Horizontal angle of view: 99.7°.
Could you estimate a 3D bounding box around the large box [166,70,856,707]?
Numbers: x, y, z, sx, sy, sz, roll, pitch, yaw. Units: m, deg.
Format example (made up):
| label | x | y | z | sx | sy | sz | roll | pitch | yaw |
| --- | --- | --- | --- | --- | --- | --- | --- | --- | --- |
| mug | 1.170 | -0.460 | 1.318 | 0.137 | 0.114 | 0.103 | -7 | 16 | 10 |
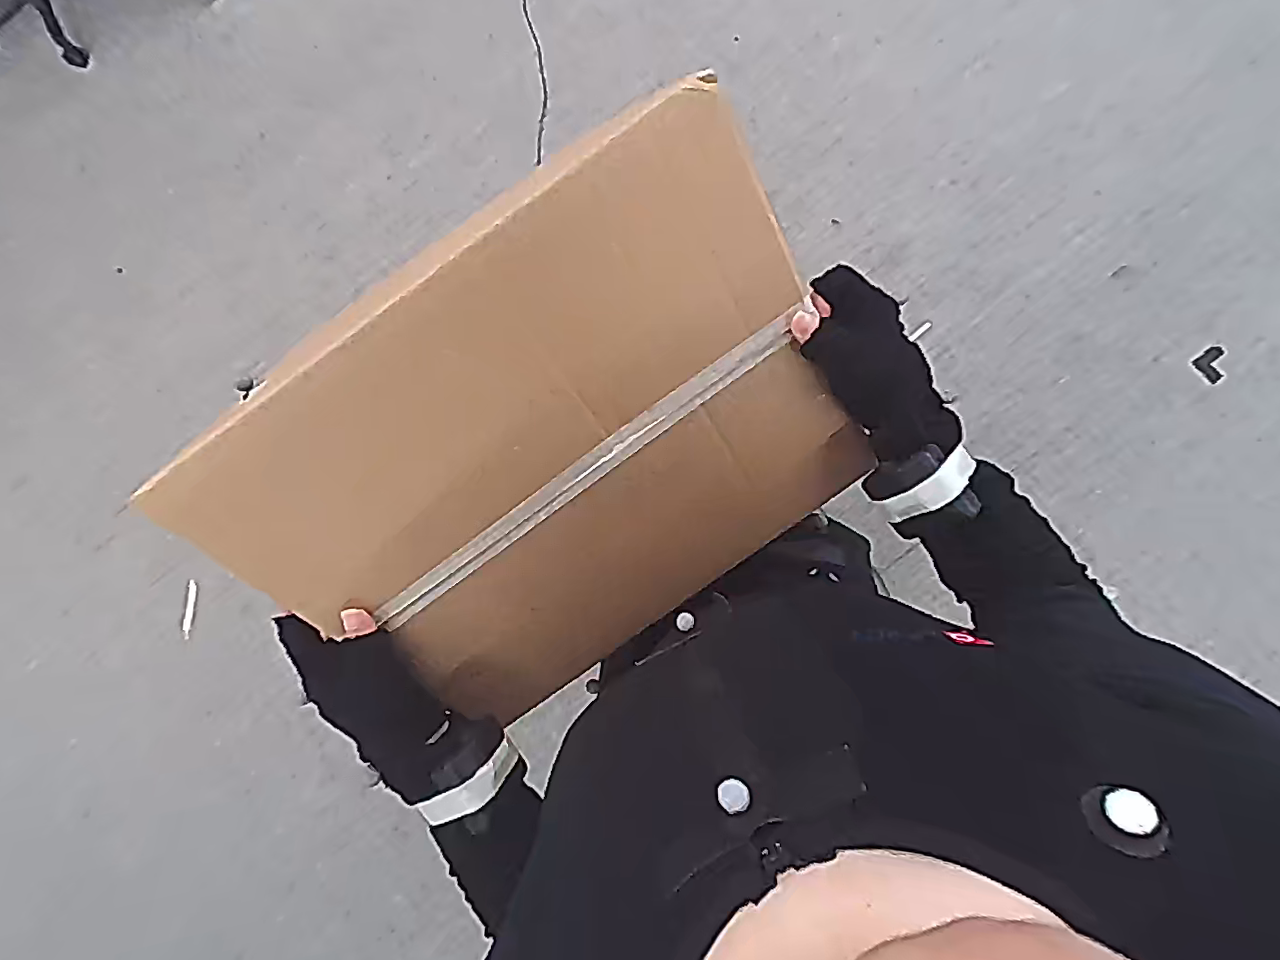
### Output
| label | x | y | z | sx | sy | sz | roll | pitch | yaw |
| --- | --- | --- | --- | --- | --- | --- | --- | --- | --- |
| large box | -0.093 | -0.079 | 0.519 | 0.408 | 0.320 | 0.320 | -35 | 122 | 3 |
